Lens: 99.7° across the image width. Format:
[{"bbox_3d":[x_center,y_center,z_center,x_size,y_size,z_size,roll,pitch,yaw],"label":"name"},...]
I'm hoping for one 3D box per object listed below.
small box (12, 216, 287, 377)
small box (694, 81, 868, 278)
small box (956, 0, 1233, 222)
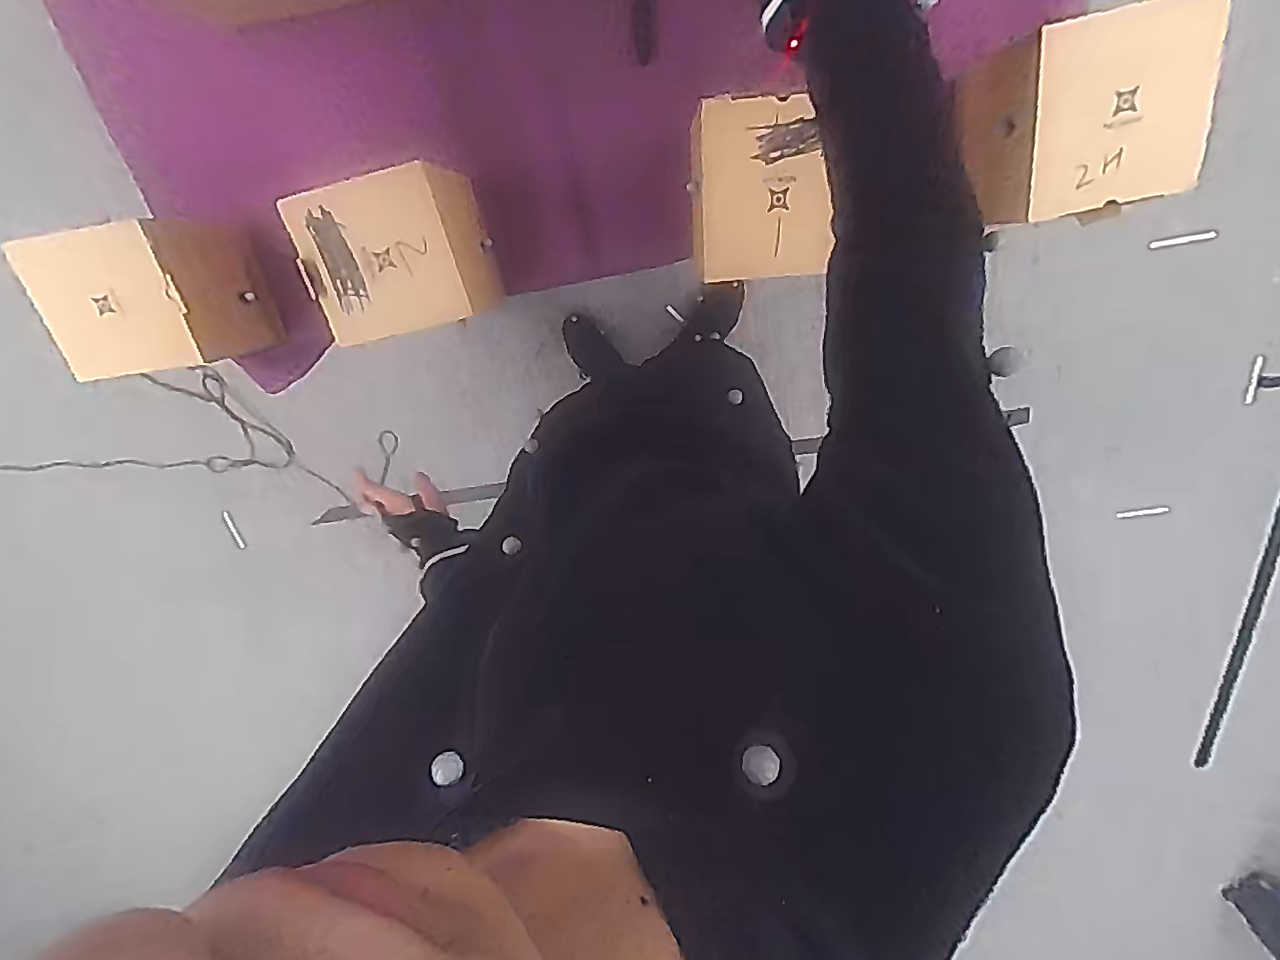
[{"bbox_3d":[-0.623,-0.243,0.716,0.179,0.176,0.168,-8,113,4],"label":"small box"},{"bbox_3d":[0.152,-0.343,0.642,0.168,0.176,0.179,-3,116,4],"label":"small box"},{"bbox_3d":[0.477,-0.399,0.602,0.168,0.176,0.179,-9,113,7],"label":"small box"}]
